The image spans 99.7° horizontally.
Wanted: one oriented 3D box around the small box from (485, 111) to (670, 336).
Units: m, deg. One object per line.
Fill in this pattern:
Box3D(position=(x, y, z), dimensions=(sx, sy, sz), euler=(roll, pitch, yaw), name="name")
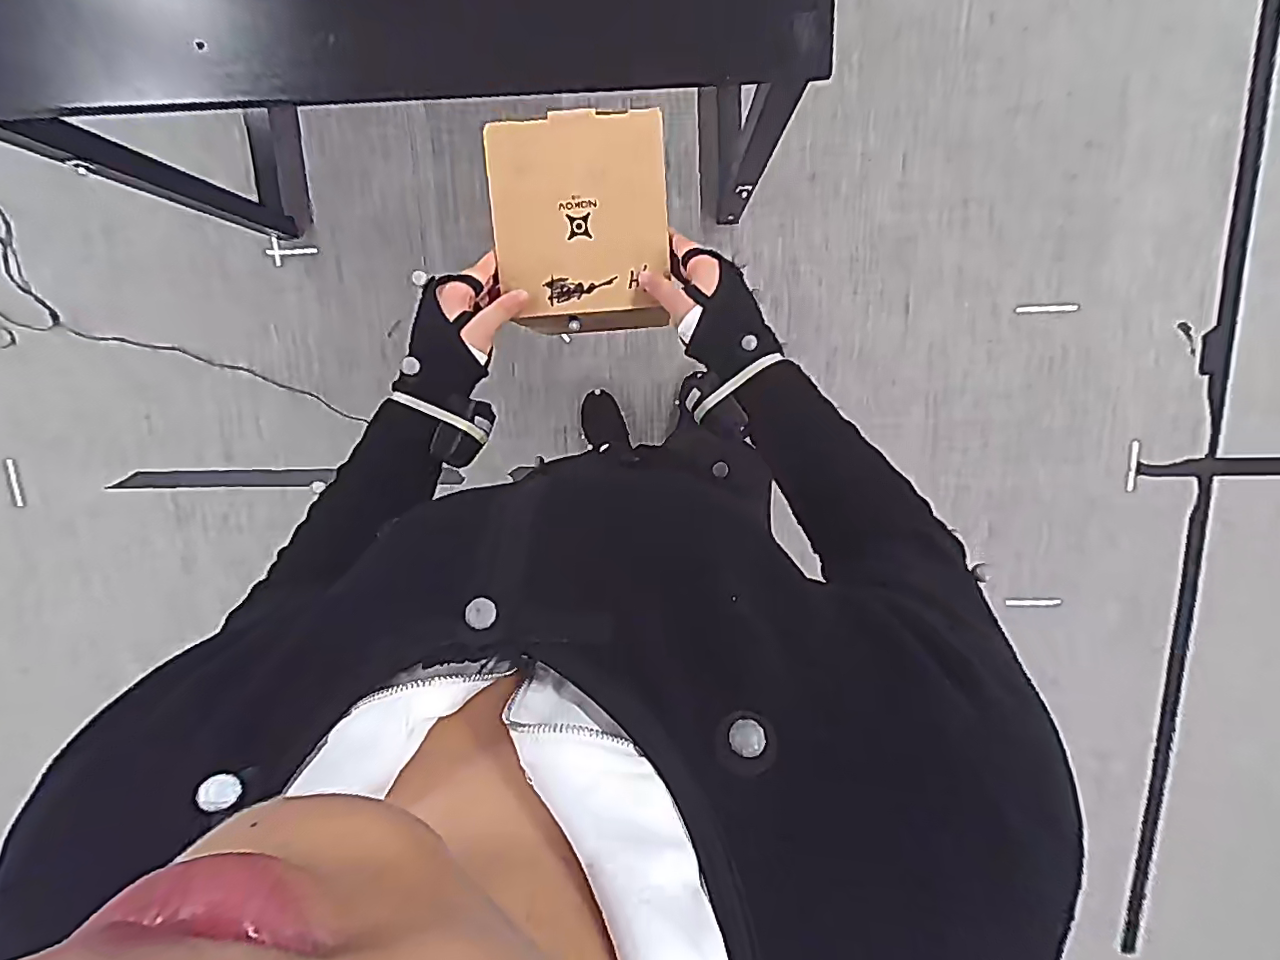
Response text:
Box3D(position=(-0.055, -0.258, 0.584), dimensions=(0.168, 0.176, 0.179), euler=(-3, 100, 3), name="small box")
